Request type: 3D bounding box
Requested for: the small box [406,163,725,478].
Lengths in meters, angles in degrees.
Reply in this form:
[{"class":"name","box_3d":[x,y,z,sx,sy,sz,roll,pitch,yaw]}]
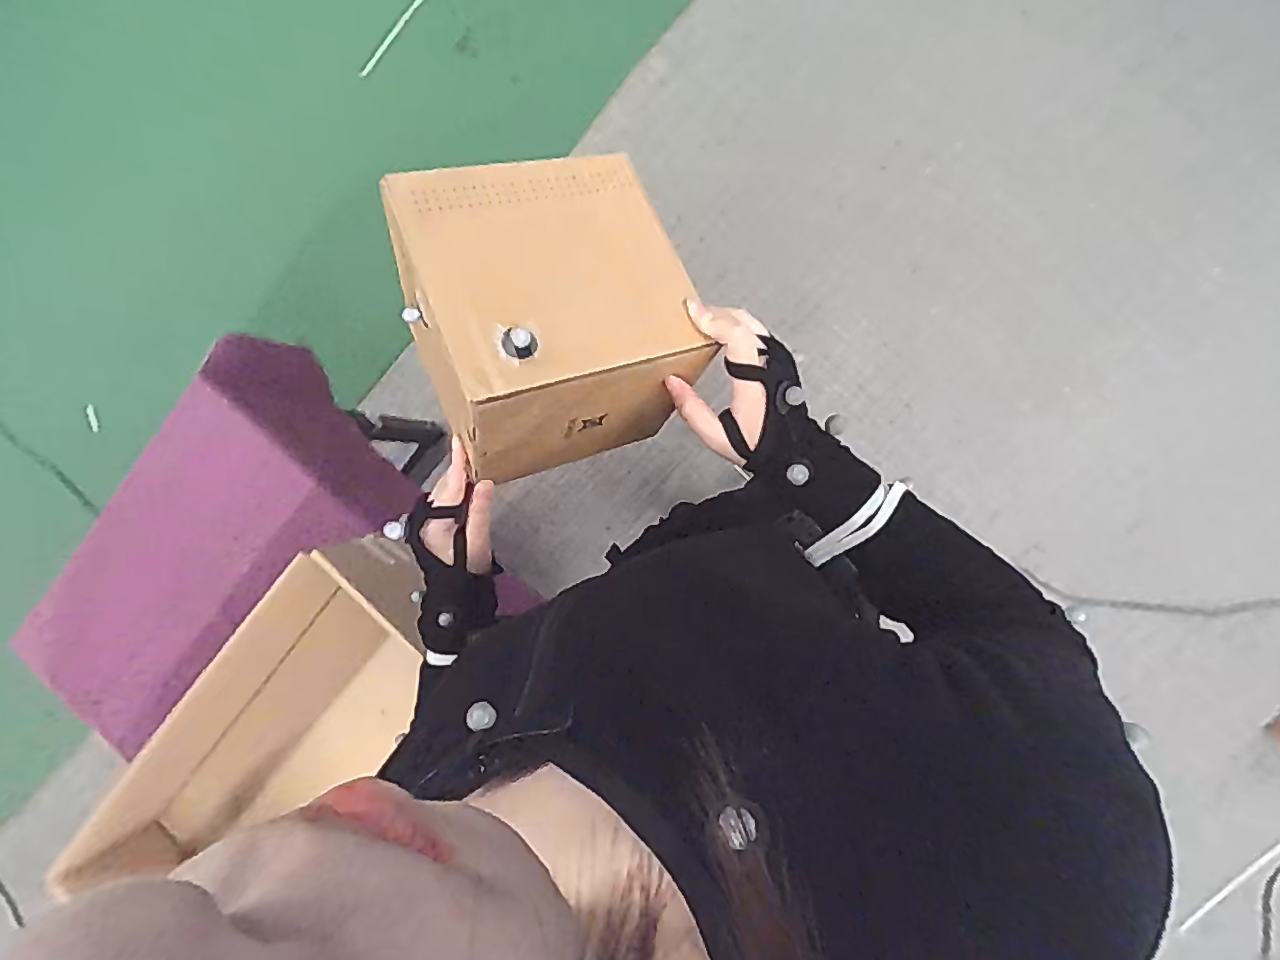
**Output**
[{"class":"small box","box_3d":[-0.066,-0.123,0.433,0.179,0.168,0.176,-17,78,-20]}]
